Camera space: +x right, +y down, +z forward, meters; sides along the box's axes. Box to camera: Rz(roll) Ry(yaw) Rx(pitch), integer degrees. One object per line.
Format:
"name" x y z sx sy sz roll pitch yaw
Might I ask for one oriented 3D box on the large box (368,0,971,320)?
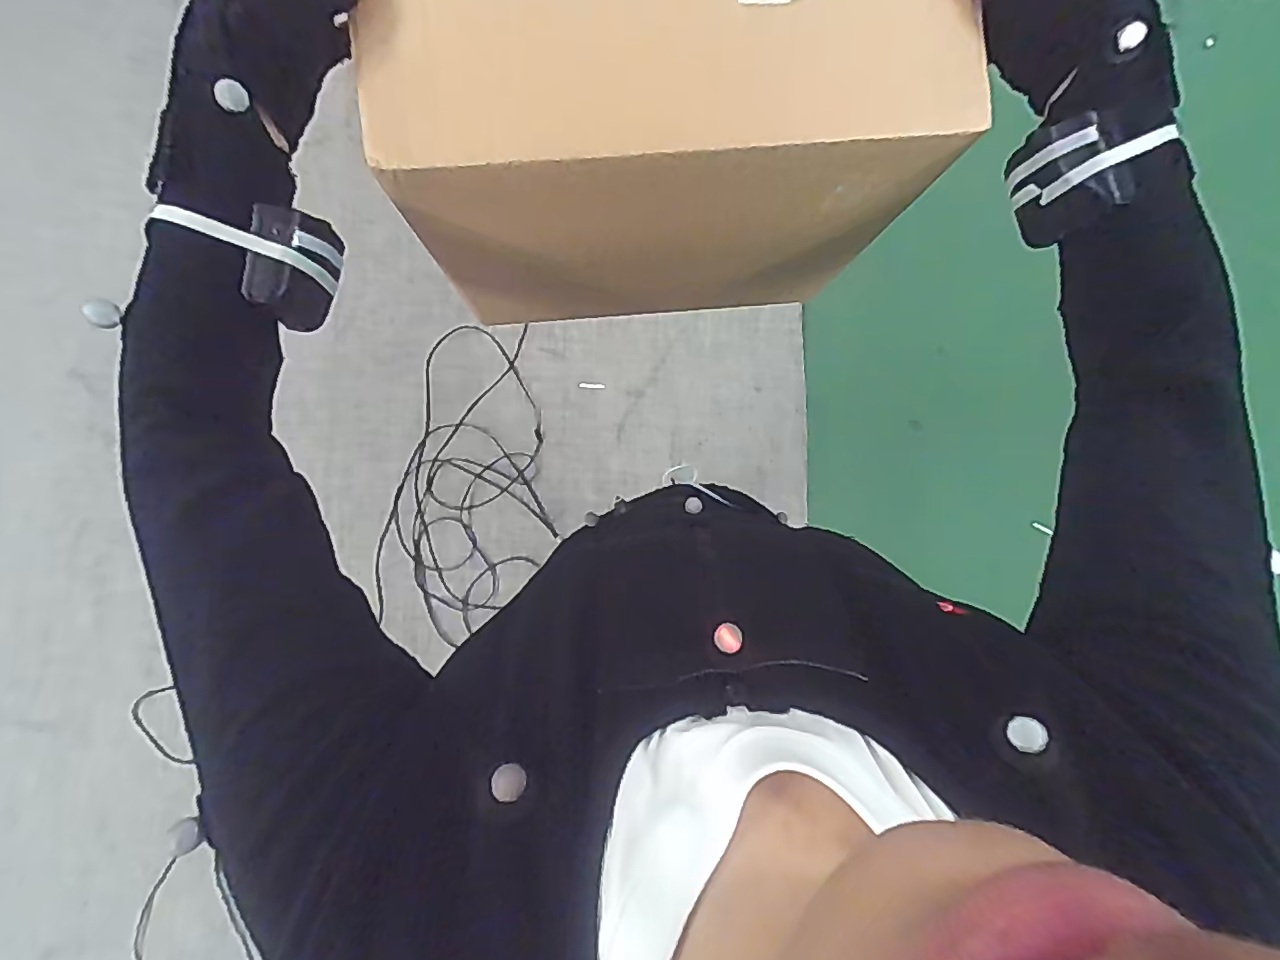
"large box" 0.004 -0.365 0.510 0.408 0.320 0.320 -6 89 -5
